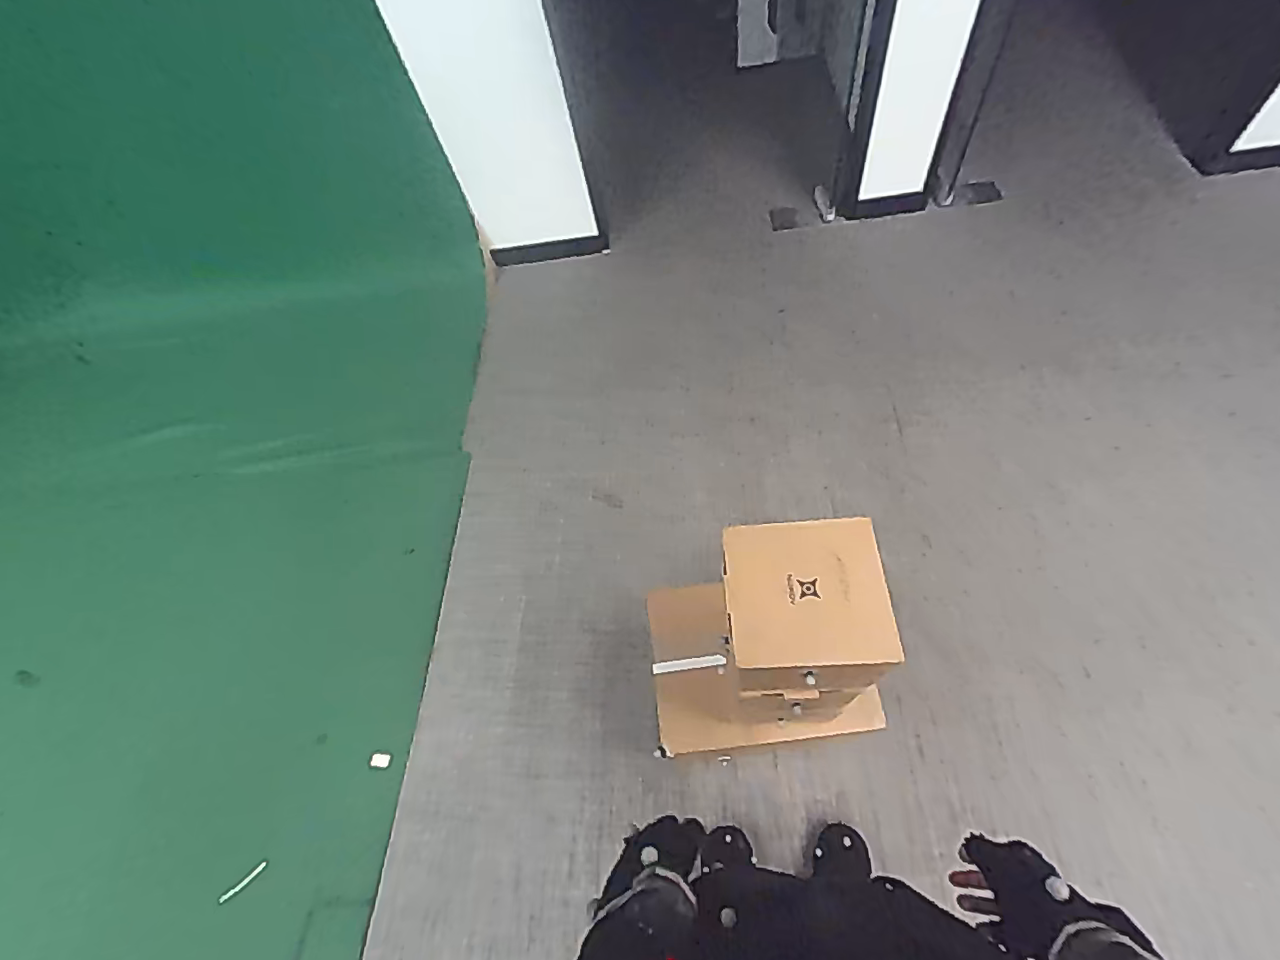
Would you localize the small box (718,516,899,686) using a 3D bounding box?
[{"bbox_3d":[0.193,0.158,0.672,0.179,0.176,0.168,-4,61,6],"label":"small box"}]

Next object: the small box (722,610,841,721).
[{"bbox_3d":[0.237,0.325,0.948,0.179,0.176,0.168,-5,60,8],"label":"small box"}]

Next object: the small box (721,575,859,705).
[{"bbox_3d":[0.214,0.238,0.812,0.168,0.176,0.179,-6,61,7],"label":"small box"}]
